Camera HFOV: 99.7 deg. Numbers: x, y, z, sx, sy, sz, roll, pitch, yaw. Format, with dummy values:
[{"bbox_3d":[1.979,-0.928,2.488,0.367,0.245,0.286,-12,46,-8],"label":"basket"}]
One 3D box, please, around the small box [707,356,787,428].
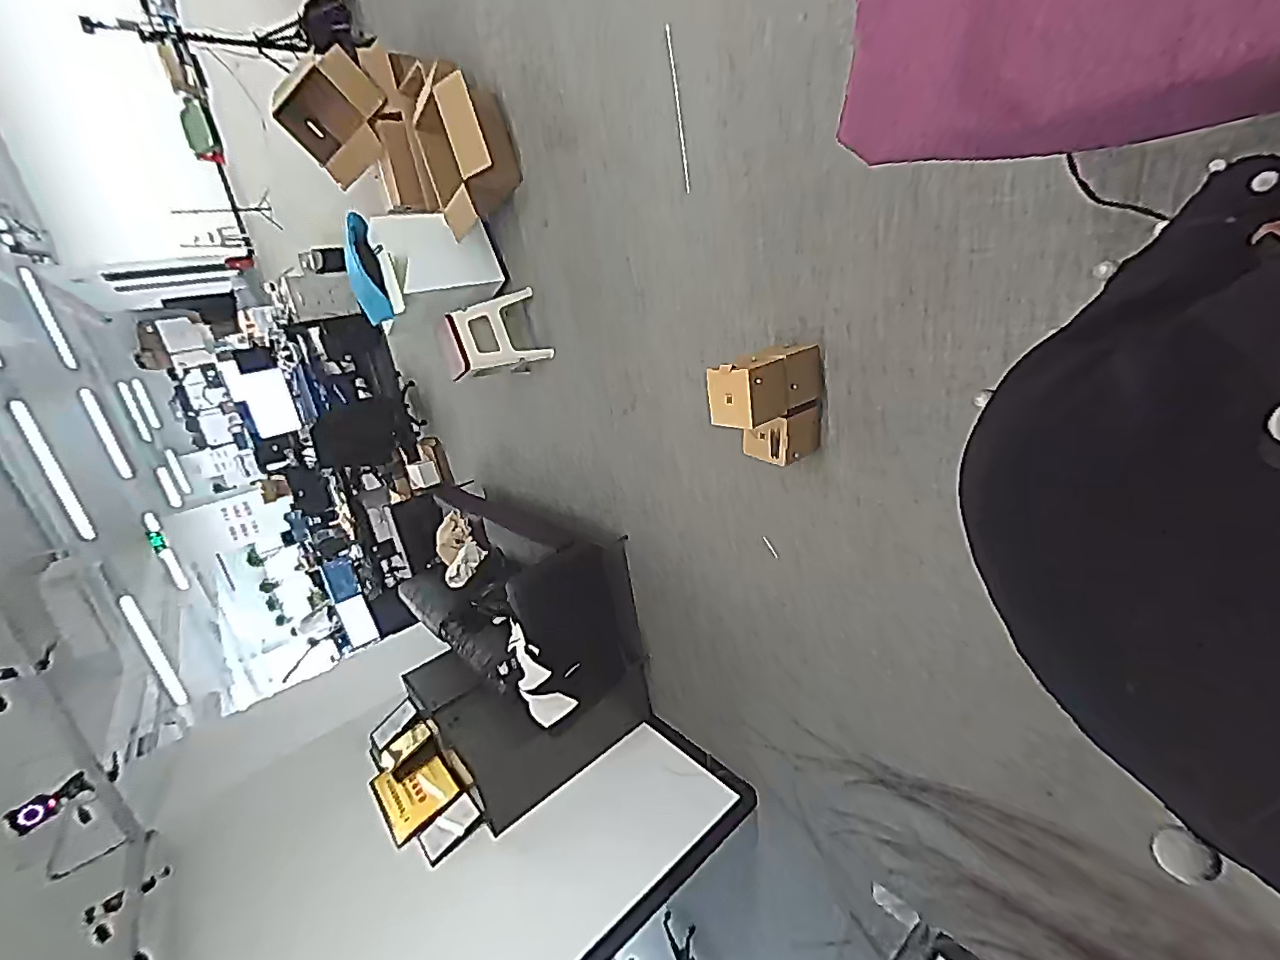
[{"bbox_3d":[0.328,-0.270,1.631,0.168,0.176,0.179,14,119,49],"label":"small box"}]
